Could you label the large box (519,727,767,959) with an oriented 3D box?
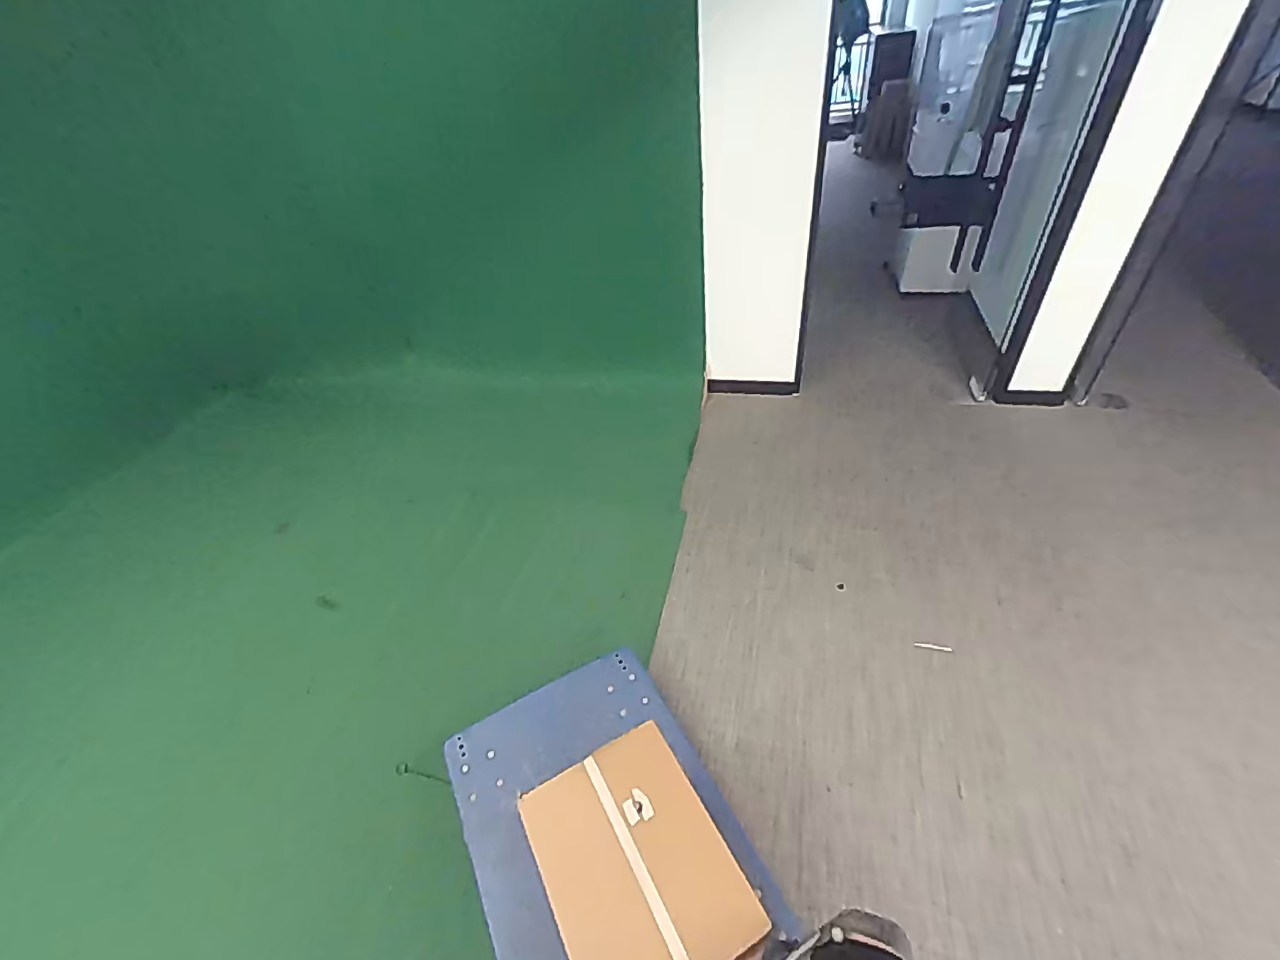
[{"bbox_3d":[0.003,0.805,1.079,0.320,0.320,0.408,-23,43,-19],"label":"large box"}]
